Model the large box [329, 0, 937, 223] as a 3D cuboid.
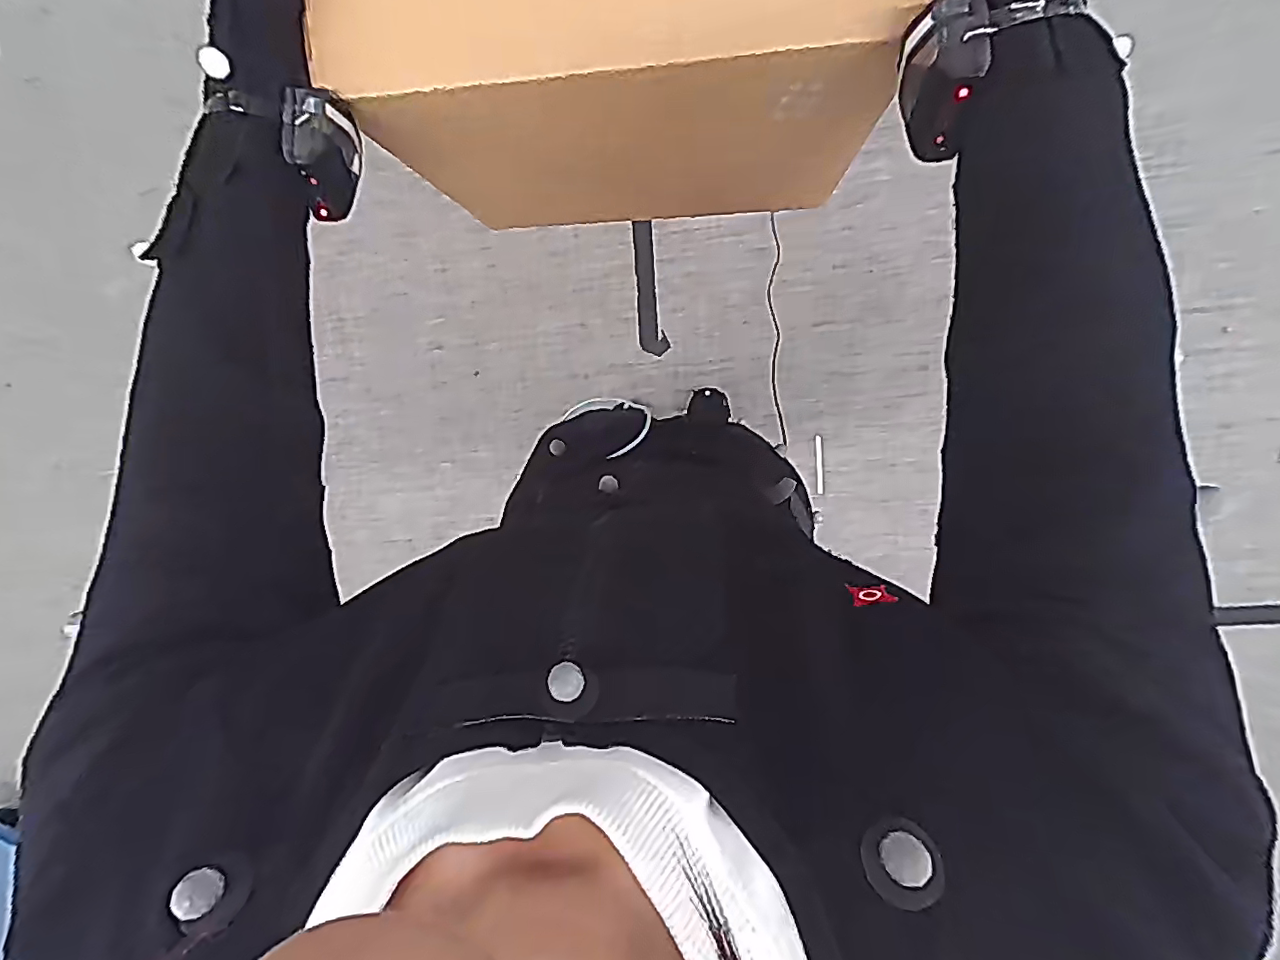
[{"bbox_3d":[-0.006,-0.449,0.480,0.408,0.320,0.320,-1,100,6],"label":"large box"}]
